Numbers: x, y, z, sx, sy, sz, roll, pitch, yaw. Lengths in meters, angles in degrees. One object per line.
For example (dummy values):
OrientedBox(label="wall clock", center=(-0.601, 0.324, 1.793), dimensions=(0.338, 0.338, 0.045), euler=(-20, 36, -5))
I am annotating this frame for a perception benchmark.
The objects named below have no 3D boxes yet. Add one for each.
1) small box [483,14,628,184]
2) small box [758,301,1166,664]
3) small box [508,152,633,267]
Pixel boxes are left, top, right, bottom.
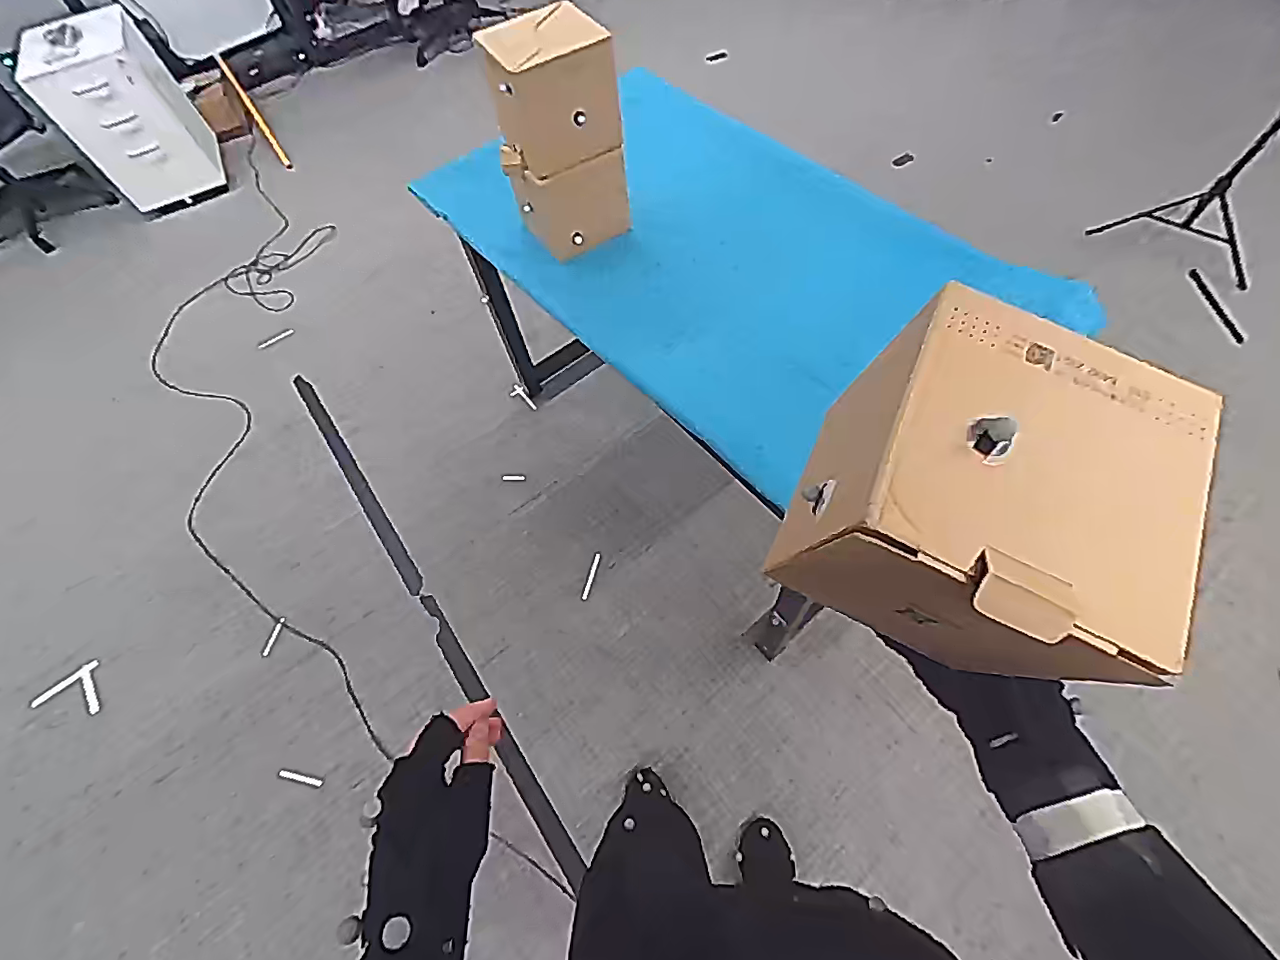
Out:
OrientedBox(label="small box", center=(-0.144, -0.656, 0.928), dimensions=(0.179, 0.176, 0.168), euler=(-29, 62, -9))
OrientedBox(label="small box", center=(0.209, 0.011, 0.376), dimensions=(0.168, 0.179, 0.176), euler=(27, 72, 4))
OrientedBox(label="small box", center=(-0.135, -0.564, 1.065), dimensions=(0.179, 0.176, 0.168), euler=(-32, 63, -12))
